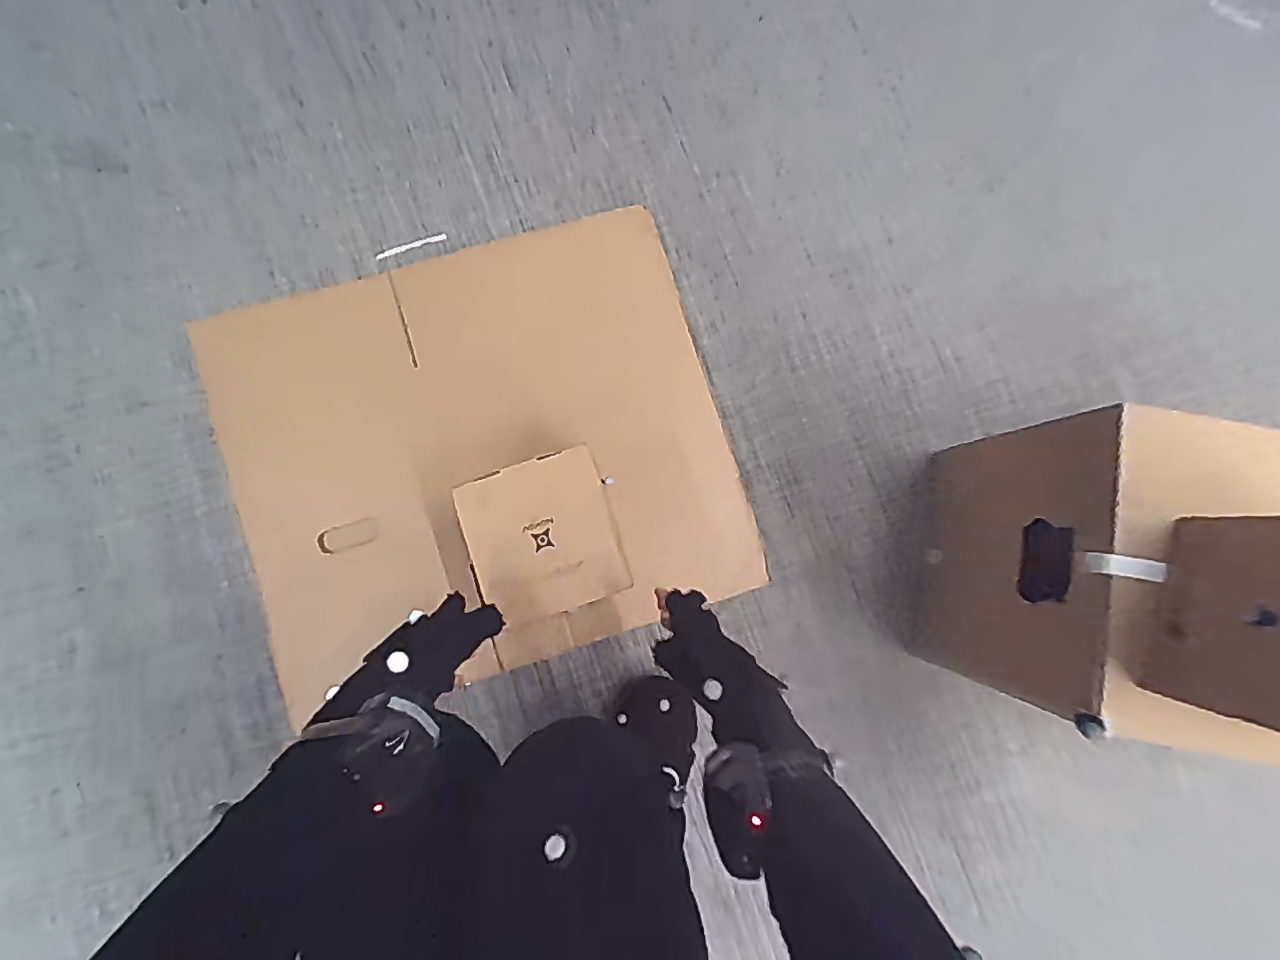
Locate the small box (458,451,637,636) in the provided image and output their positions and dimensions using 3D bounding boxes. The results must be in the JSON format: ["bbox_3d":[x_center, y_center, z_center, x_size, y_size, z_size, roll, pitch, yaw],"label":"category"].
[{"bbox_3d":[-0.109,0.080,0.701,0.168,0.176,0.179,-20,85,-2],"label":"small box"}]

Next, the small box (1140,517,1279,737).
[{"bbox_3d":[0.553,0.128,0.422,0.179,0.176,0.168,15,82,-1],"label":"small box"}]
